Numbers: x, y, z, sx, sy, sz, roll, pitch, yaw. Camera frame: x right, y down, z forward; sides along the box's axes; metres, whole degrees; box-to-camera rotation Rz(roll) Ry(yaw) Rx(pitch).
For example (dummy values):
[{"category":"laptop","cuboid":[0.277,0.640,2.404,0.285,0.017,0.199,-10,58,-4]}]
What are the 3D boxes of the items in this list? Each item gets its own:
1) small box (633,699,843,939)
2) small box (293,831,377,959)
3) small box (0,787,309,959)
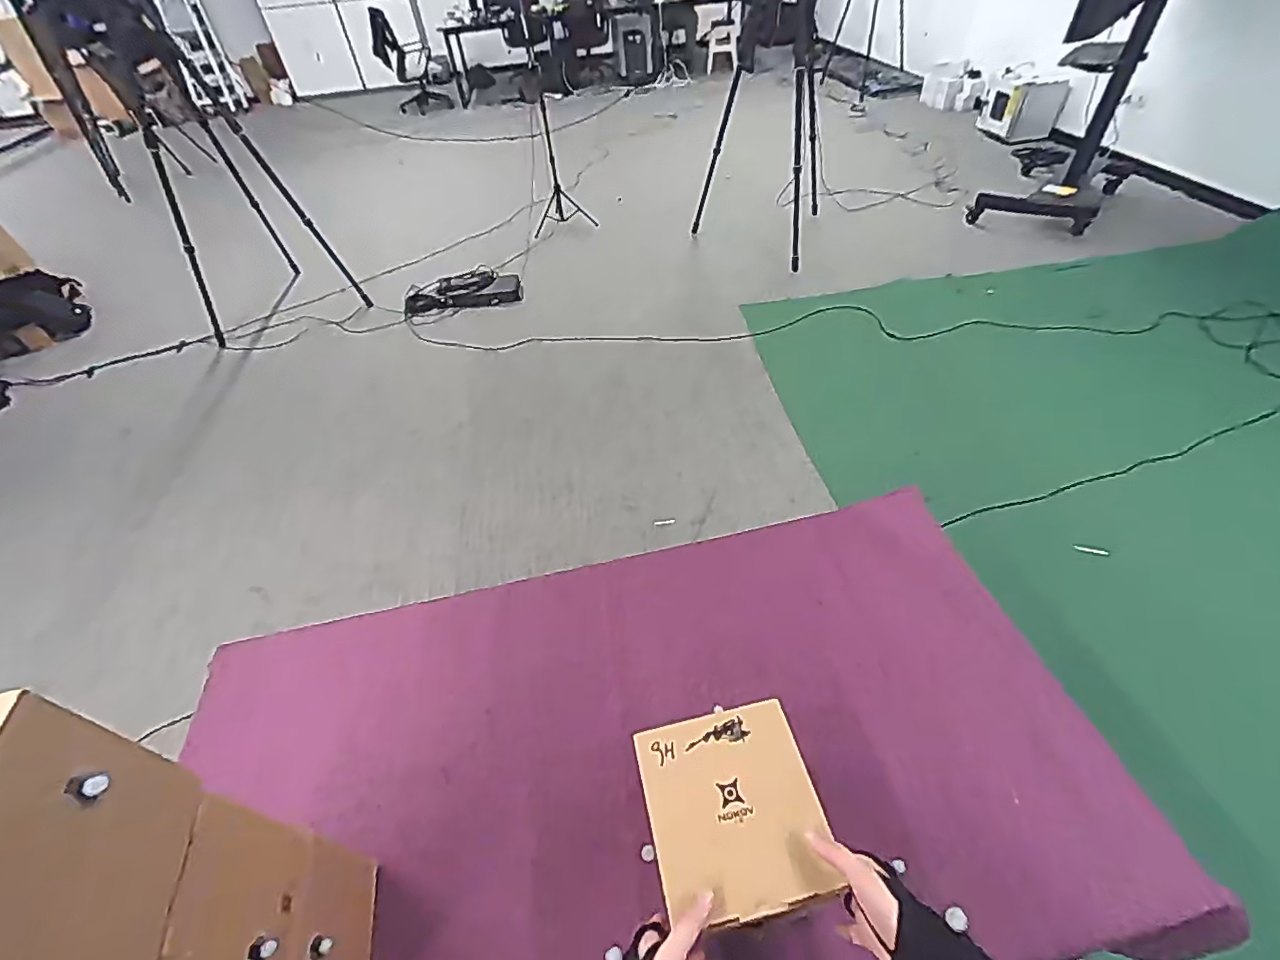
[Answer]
[{"category":"small box","cuboid":[0.094,0.371,0.590,0.168,0.176,0.179,-11,47,-5]},{"category":"small box","cuboid":[-0.380,0.481,0.532,0.168,0.176,0.179,-12,46,-7]},{"category":"small box","cuboid":[-0.395,0.370,0.414,0.179,0.176,0.168,-13,47,-9]}]
